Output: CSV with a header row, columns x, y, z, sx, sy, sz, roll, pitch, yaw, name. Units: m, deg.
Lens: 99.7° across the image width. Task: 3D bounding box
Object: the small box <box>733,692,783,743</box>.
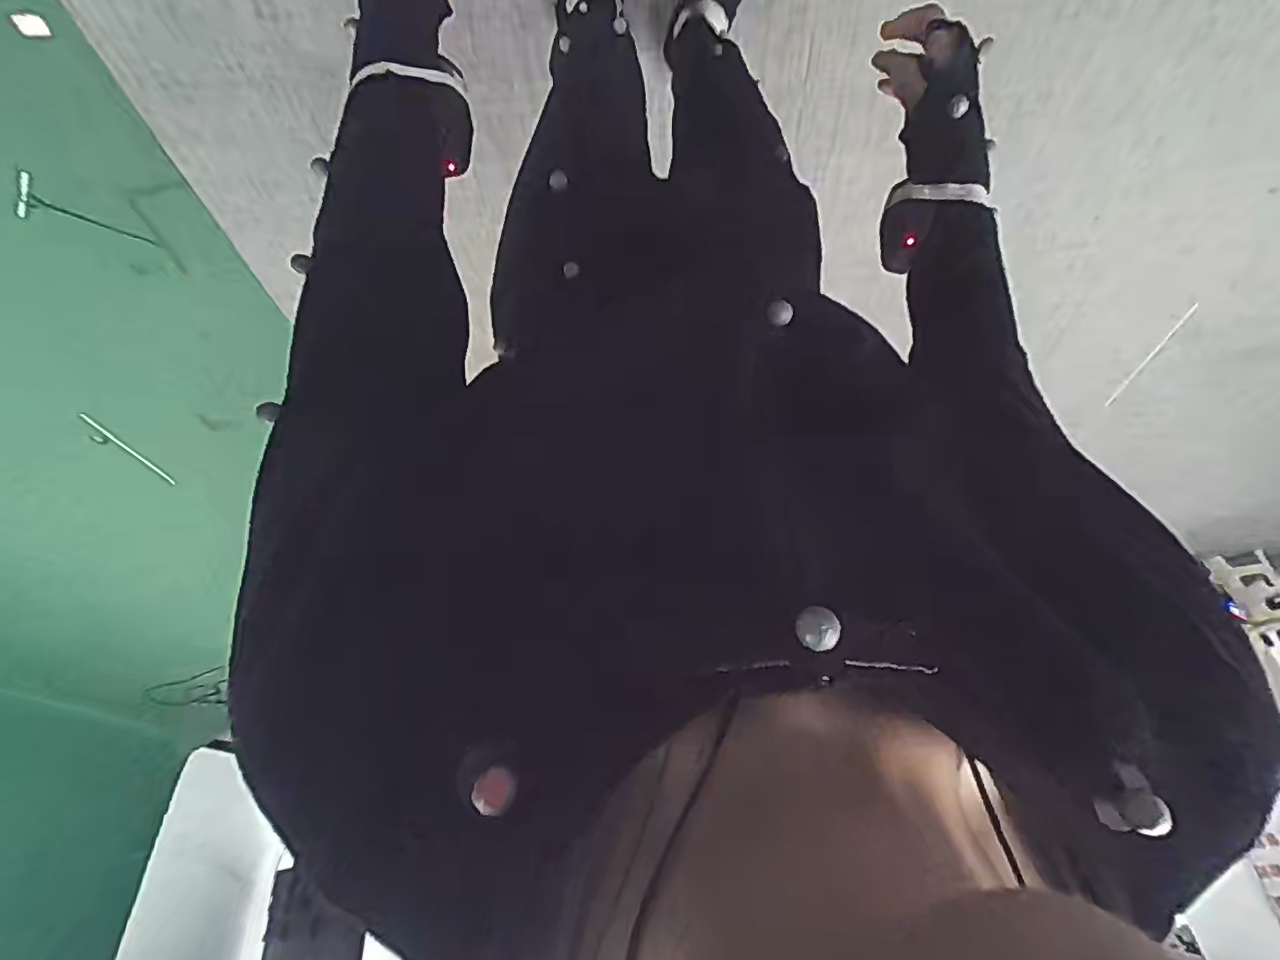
x,y,z,sx,sy,sz,roll,pitch,yaw,name
0.515,1.051,2.390,0.179,0.176,0.168,-7,145,-1,small box
